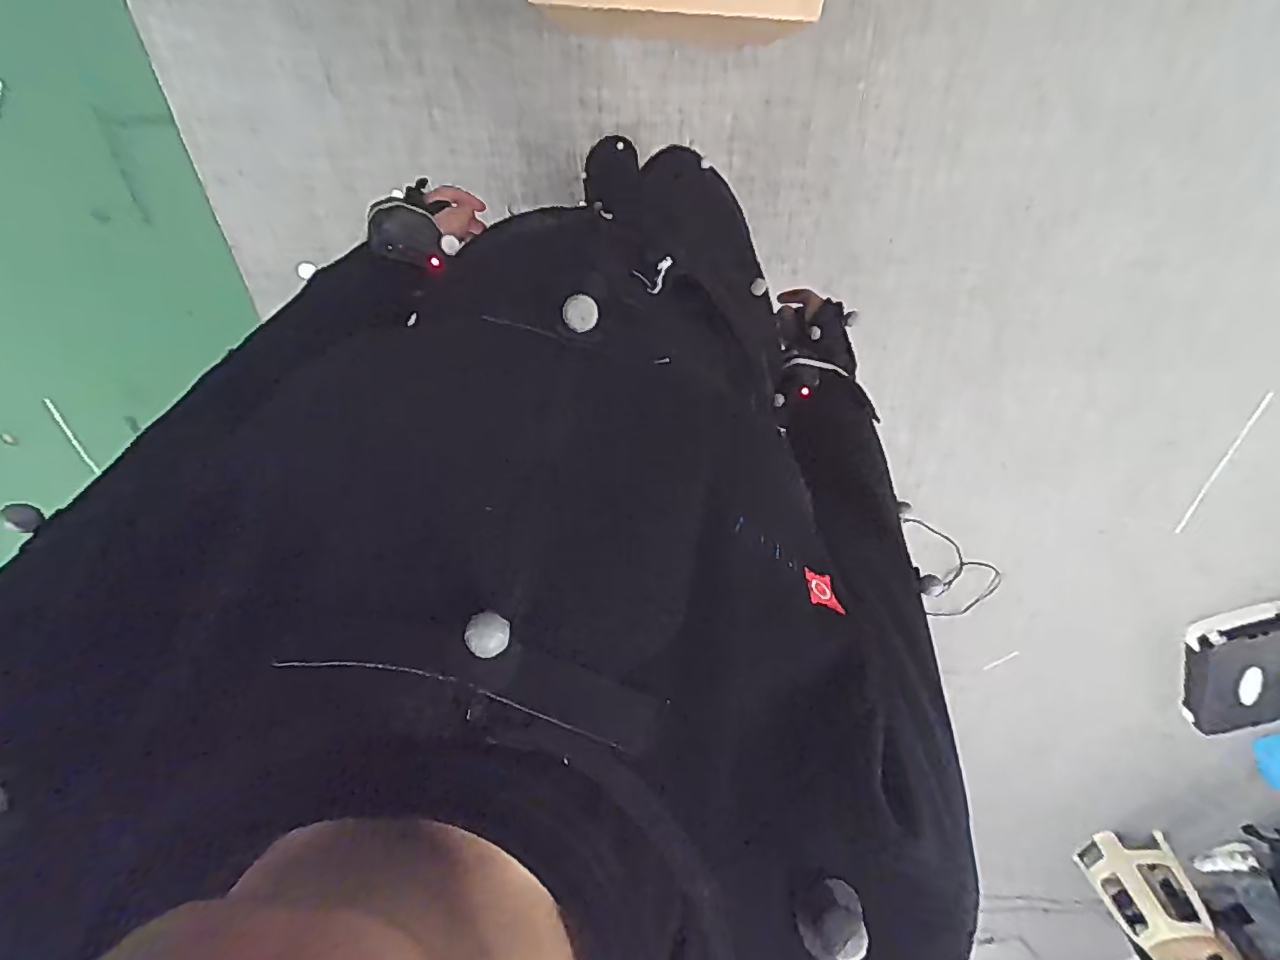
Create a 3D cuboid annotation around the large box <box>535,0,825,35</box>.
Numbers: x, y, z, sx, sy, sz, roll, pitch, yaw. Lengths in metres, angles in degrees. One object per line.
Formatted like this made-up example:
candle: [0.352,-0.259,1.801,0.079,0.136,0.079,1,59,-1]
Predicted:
large box: [0.052,-0.849,0.768,0.408,0.320,0.320,1,126,-2]
